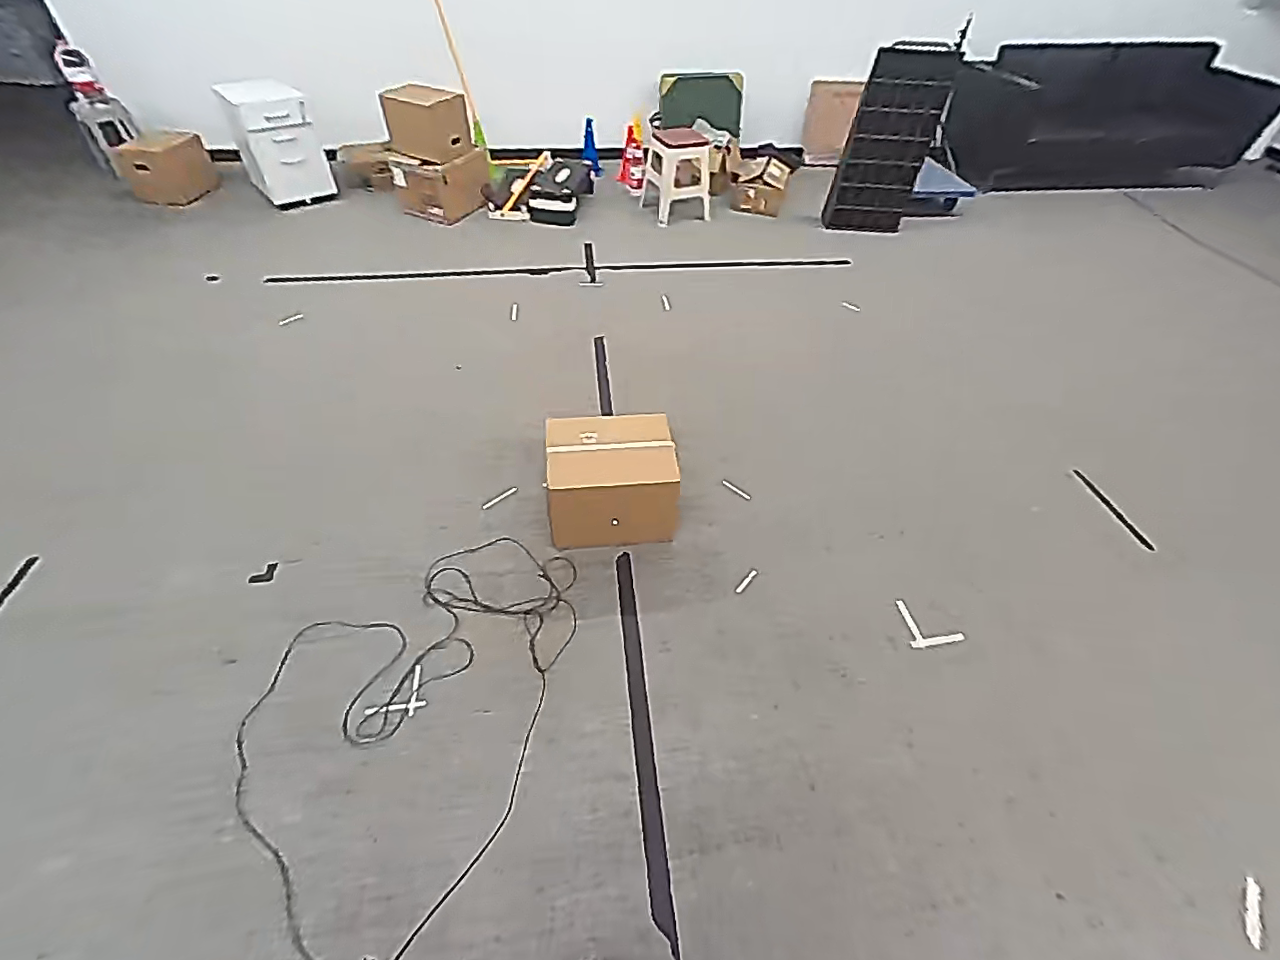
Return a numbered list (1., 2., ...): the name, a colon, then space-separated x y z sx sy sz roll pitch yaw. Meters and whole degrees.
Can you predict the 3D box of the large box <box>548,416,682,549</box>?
1. large box: -0.091 0.011 1.822 0.408 0.320 0.320 -4 47 -6
